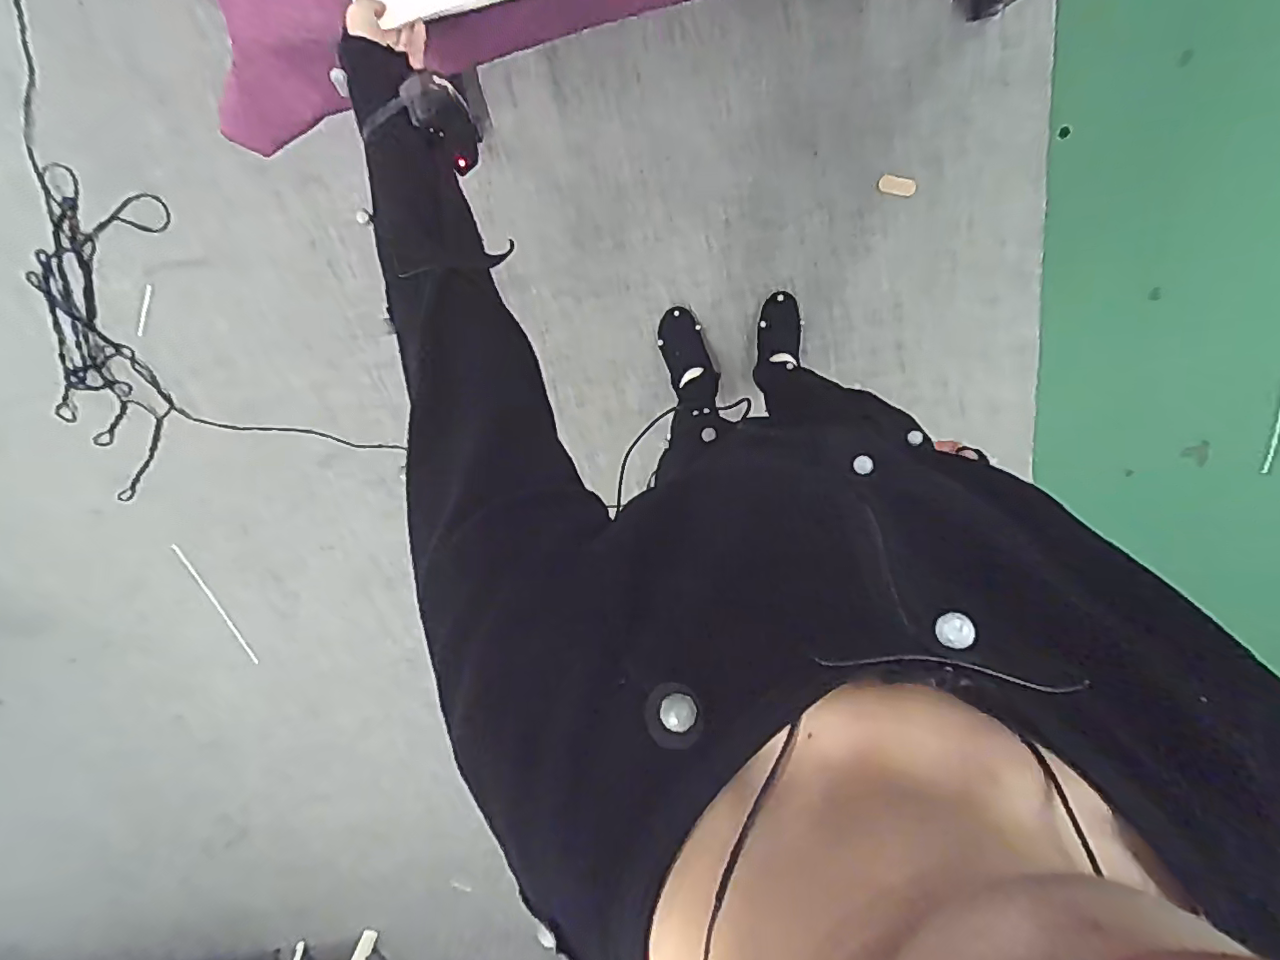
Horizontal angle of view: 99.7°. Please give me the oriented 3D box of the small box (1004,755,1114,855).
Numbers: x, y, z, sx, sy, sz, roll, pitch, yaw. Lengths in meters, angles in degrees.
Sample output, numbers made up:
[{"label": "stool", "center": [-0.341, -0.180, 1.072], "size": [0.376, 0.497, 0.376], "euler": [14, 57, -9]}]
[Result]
[{"label": "small box", "center": [1.145, 0.891, 1.480], "size": [0.179, 0.176, 0.168], "euler": [-23, 109, 10]}]

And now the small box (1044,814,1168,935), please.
[{"label": "small box", "center": [1.136, 0.959, 1.331], "size": [0.168, 0.176, 0.179], "euler": [-21, 109, 9]}]
